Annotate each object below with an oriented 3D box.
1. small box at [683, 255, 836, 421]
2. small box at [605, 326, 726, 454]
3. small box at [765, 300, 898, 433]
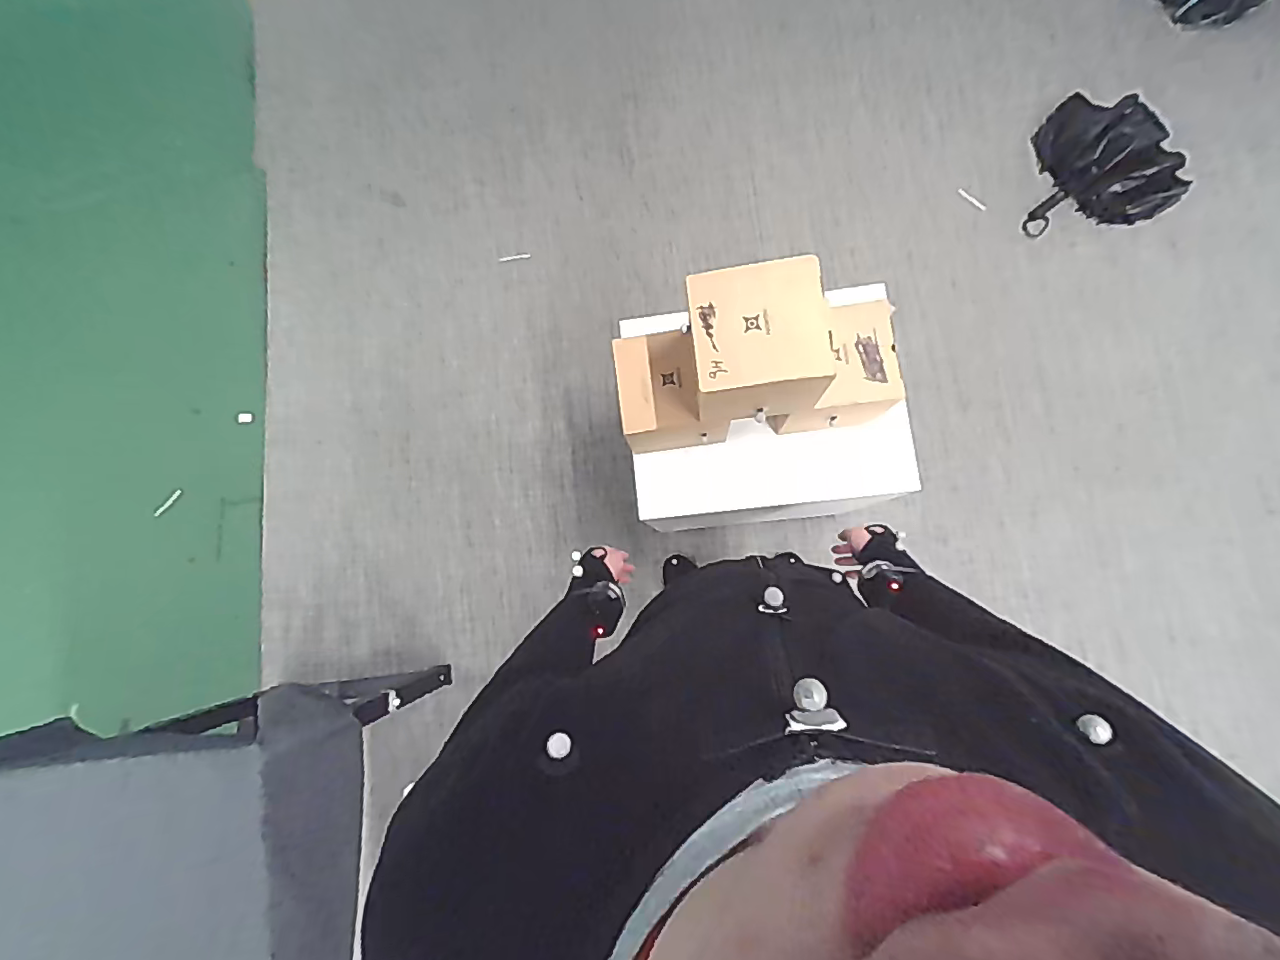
[{"bbox_3d":[0.156,-0.189,0.764,0.179,0.176,0.168,-6,81,3],"label":"small box"},{"bbox_3d":[0.043,-0.149,0.933,0.179,0.176,0.168,-9,80,3],"label":"small box"},{"bbox_3d":[0.306,-0.182,0.916,0.179,0.176,0.168,-7,81,4],"label":"small box"}]
